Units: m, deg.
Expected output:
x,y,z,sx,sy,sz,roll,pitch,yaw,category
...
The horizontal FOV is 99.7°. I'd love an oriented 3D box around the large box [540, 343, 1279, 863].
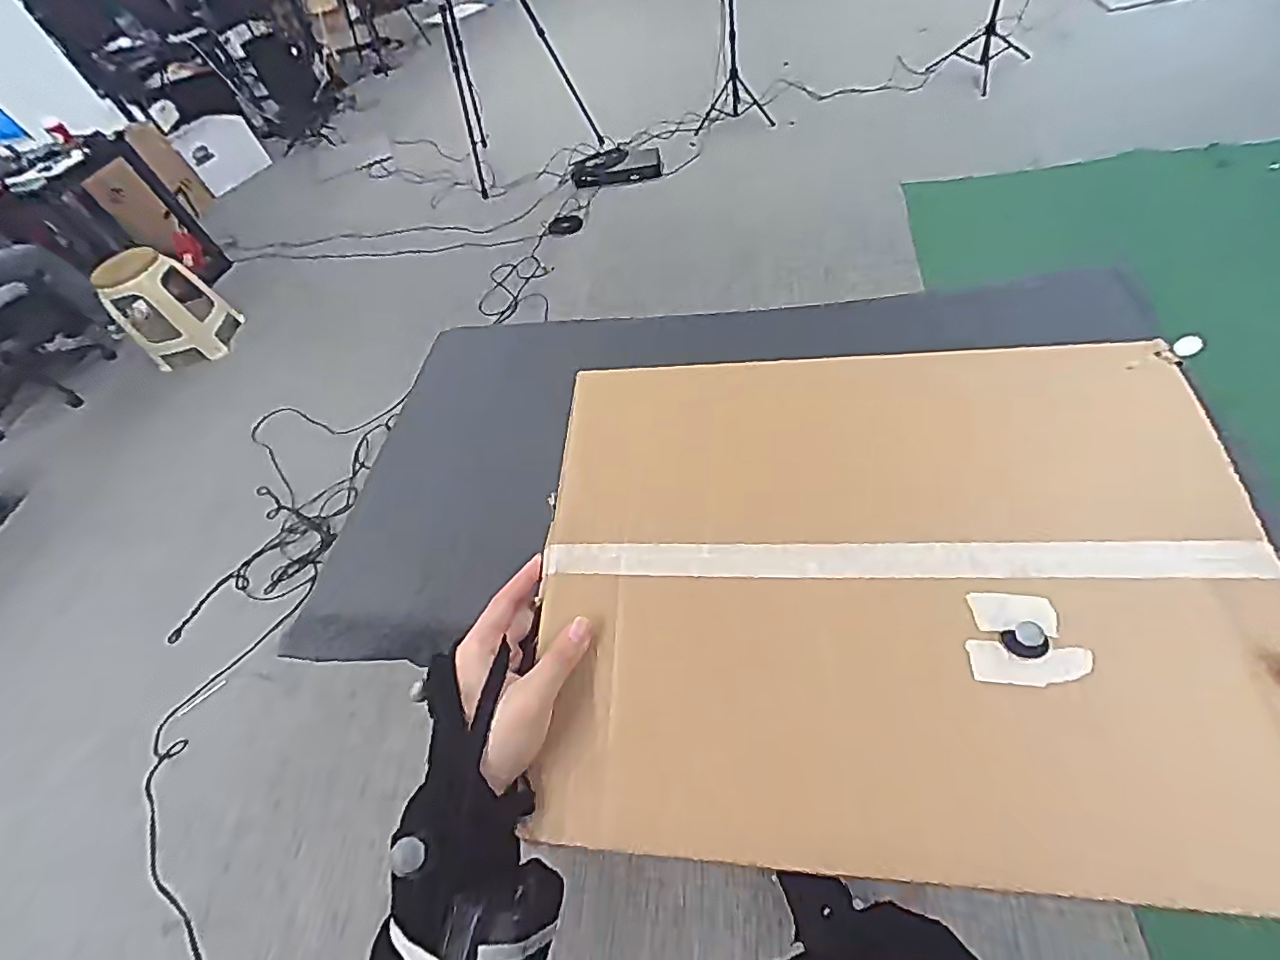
x,y,z,sx,sy,sz,roll,pitch,yaw,category
0.164,0.112,0.469,0.408,0.320,0.320,-1,63,9,large box
